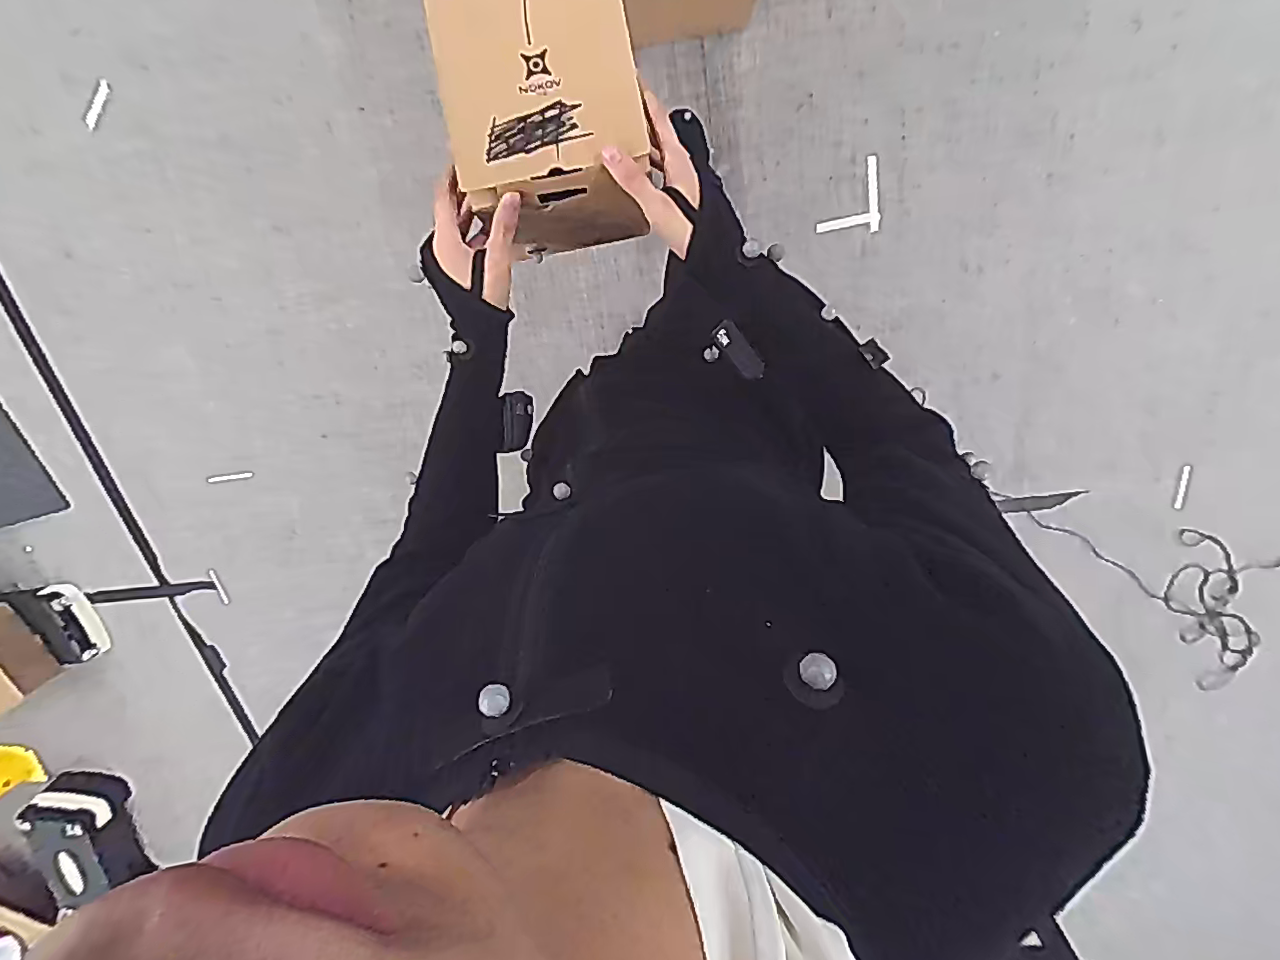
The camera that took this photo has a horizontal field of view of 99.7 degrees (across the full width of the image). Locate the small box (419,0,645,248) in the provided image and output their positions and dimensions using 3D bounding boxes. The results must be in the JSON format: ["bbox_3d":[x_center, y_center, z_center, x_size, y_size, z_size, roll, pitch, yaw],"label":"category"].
[{"bbox_3d":[-0.088,-0.348,0.535,0.168,0.176,0.179,-11,96,1],"label":"small box"}]
